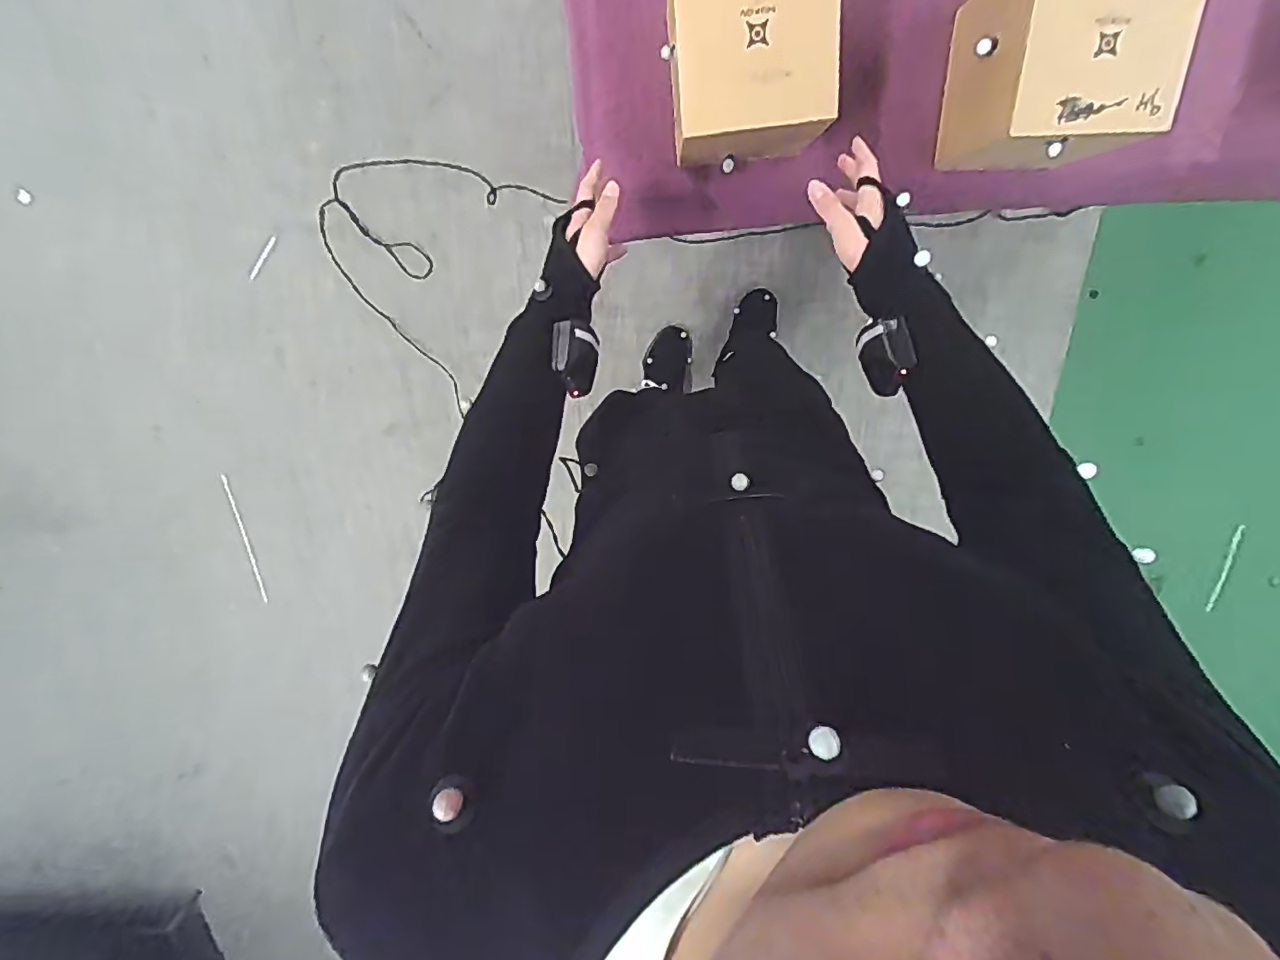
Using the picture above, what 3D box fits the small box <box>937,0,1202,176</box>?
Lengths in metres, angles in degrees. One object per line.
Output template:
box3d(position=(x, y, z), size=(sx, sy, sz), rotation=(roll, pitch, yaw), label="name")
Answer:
box3d(position=(0.467, -0.464, 0.615), size=(0.168, 0.176, 0.179), rotation=(0, 109, 2), label="small box")
